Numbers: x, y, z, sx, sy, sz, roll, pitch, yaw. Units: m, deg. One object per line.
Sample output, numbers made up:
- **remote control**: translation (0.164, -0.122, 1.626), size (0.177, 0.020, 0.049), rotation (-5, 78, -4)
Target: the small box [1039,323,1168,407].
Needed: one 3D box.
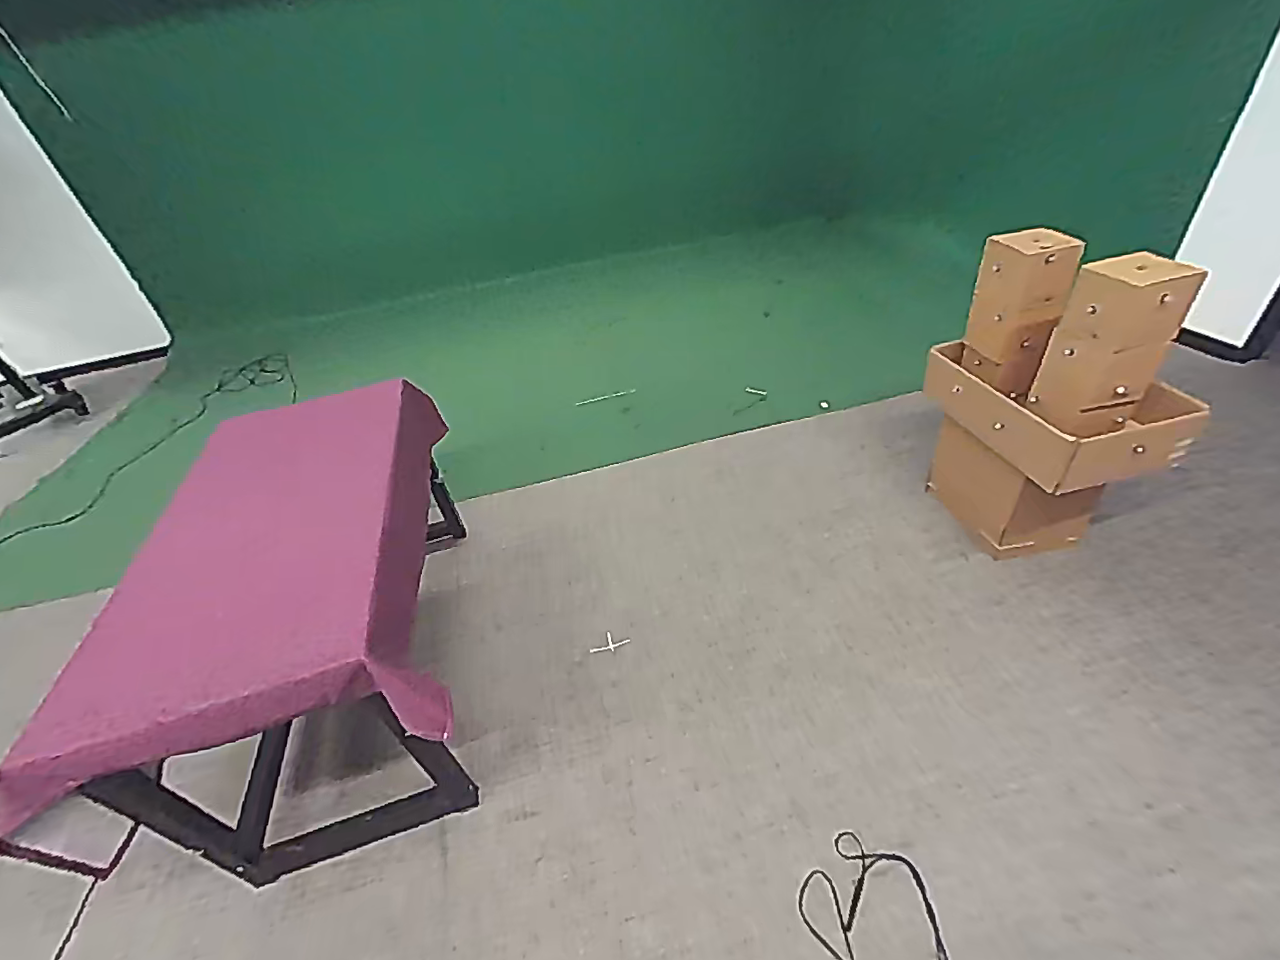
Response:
- **small box**: translation (1.217, -0.317, 1.439), size (0.168, 0.176, 0.179), rotation (-11, 39, -1)

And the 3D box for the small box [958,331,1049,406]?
- **small box**: translation (1.186, -0.366, 1.778), size (0.168, 0.176, 0.179), rotation (-13, 39, -2)

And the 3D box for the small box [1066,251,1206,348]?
- **small box**: translation (1.200, -0.442, 1.332), size (0.179, 0.176, 0.168), rotation (-13, 39, -3)

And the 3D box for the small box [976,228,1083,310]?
- **small box**: translation (1.120, -0.613, 1.573), size (0.168, 0.176, 0.179), rotation (-12, 38, -1)
